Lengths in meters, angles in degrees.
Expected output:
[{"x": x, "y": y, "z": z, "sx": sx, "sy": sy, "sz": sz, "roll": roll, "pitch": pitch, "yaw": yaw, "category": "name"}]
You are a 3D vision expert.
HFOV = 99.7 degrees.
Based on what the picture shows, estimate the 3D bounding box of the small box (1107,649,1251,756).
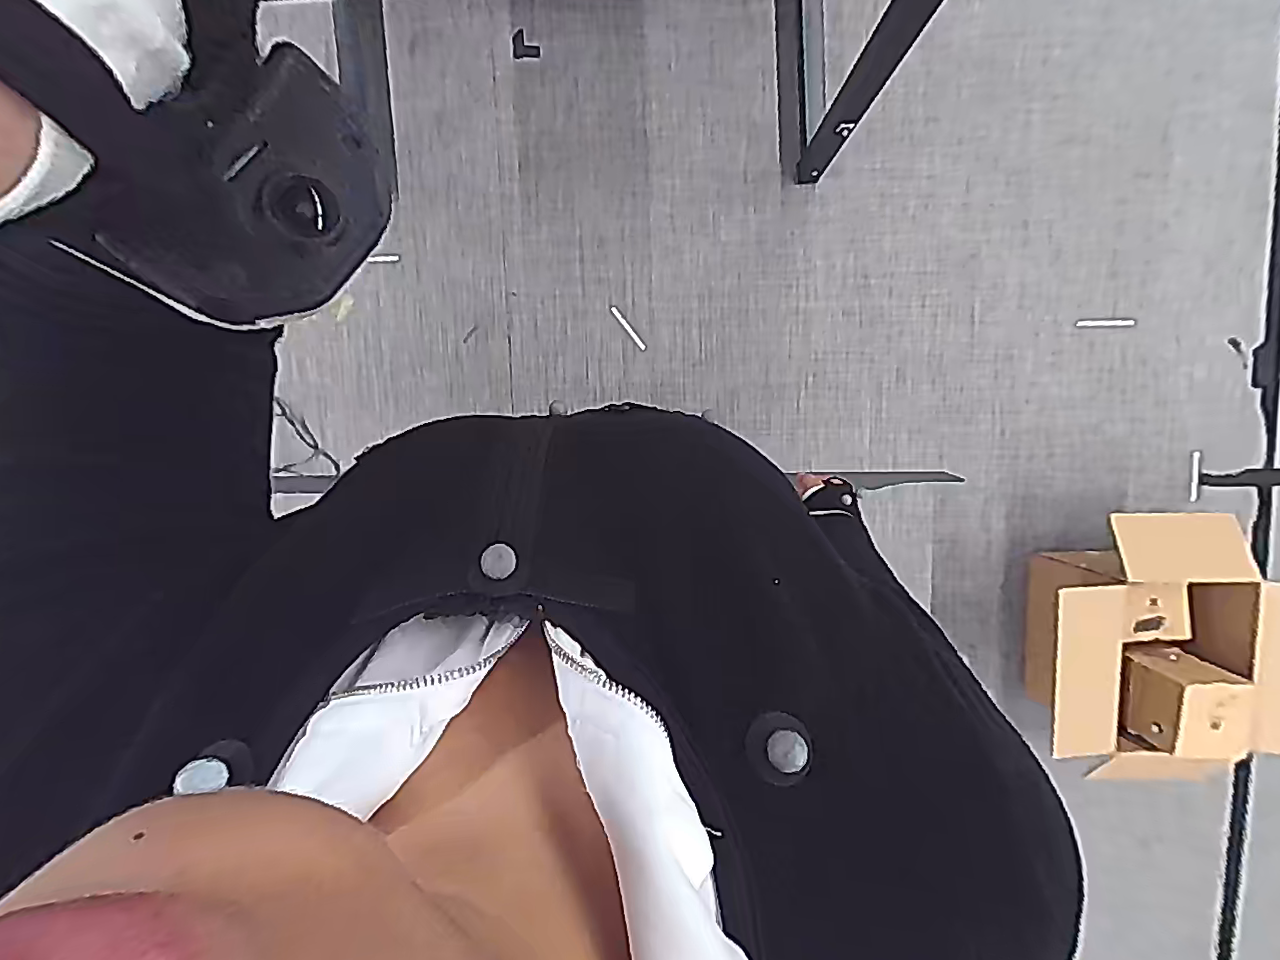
[{"x": 1.250, "y": 0.518, "z": 1.269, "sx": 0.168, "sy": 0.176, "sz": 0.179, "roll": 1, "pitch": 96, "yaw": -1, "category": "small box"}]
